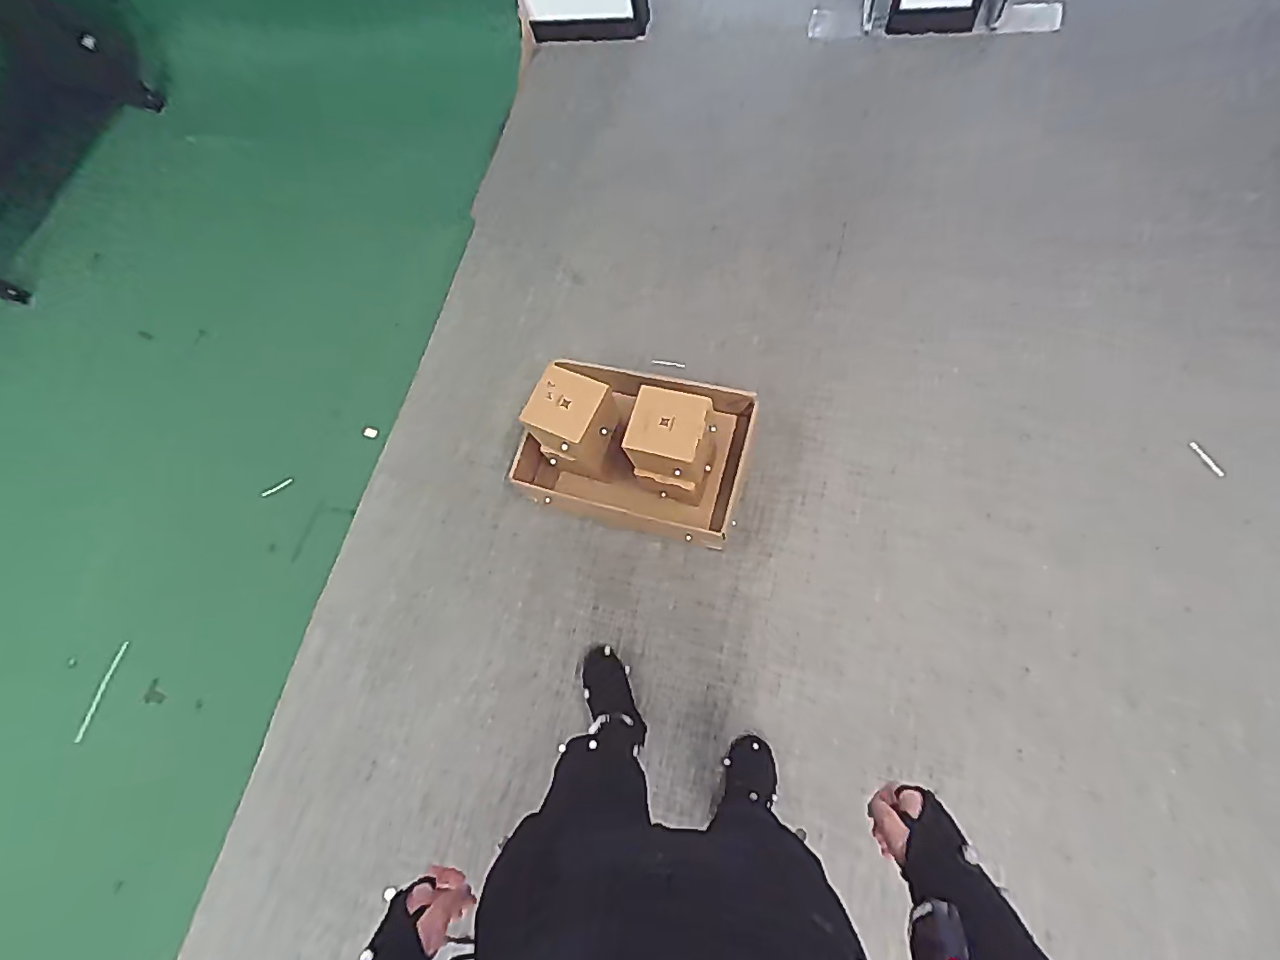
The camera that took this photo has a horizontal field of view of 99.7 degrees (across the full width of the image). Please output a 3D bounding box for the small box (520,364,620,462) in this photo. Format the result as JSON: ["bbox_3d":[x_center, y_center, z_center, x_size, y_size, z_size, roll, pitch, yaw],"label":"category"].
[{"bbox_3d":[-0.169,-0.163,1.385,0.179,0.176,0.168,23,77,16],"label":"small box"}]
